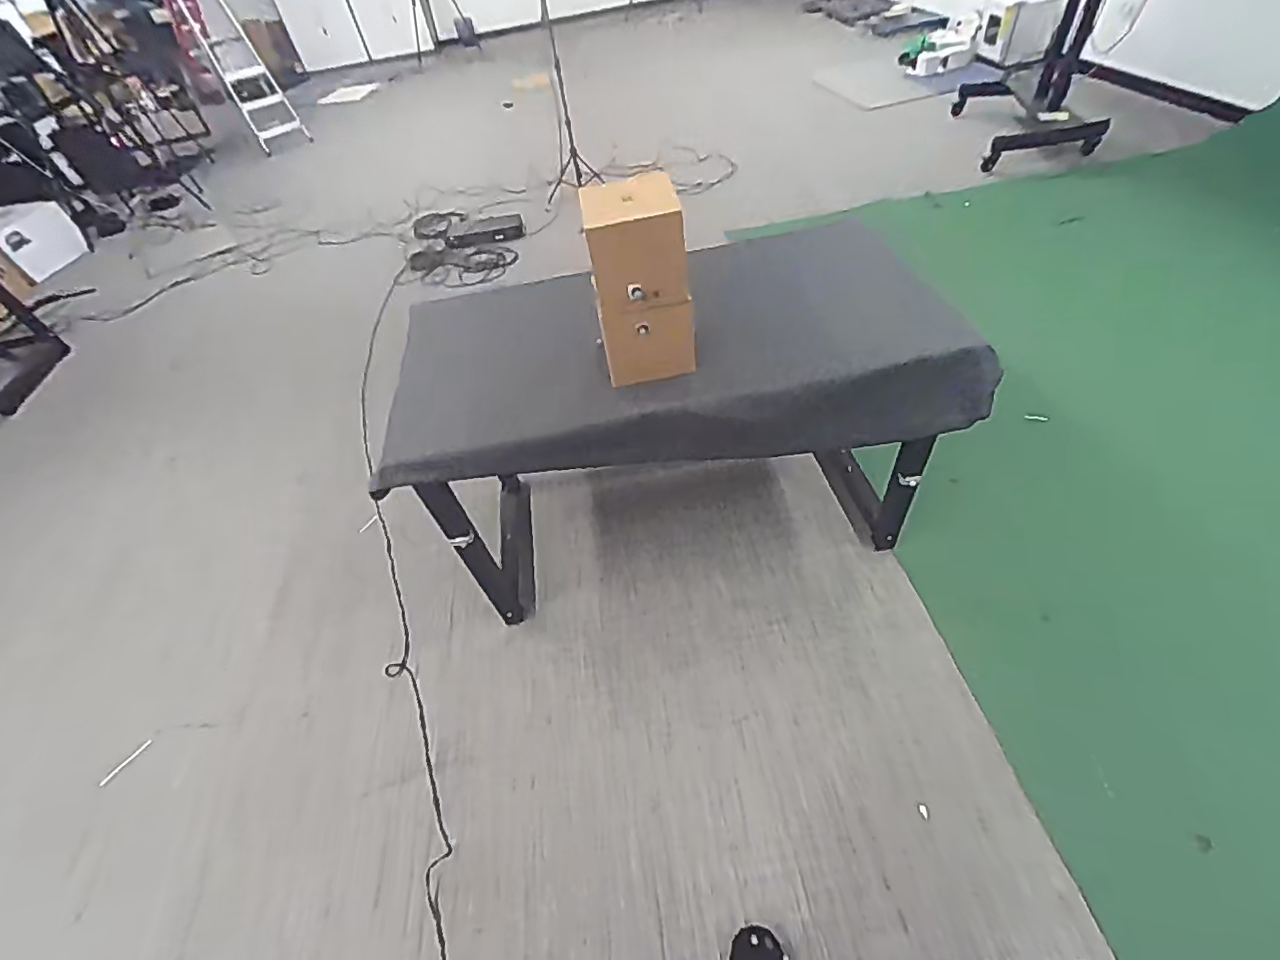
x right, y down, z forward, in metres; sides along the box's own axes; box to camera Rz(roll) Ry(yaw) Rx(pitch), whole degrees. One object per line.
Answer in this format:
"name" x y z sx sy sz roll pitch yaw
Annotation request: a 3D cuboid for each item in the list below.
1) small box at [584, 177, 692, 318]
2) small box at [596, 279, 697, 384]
"small box" -0.003 -0.427 0.998 0.168 0.176 0.179 -12 49 1
"small box" 0.016 -0.318 1.116 0.179 0.176 0.168 -11 48 -1
